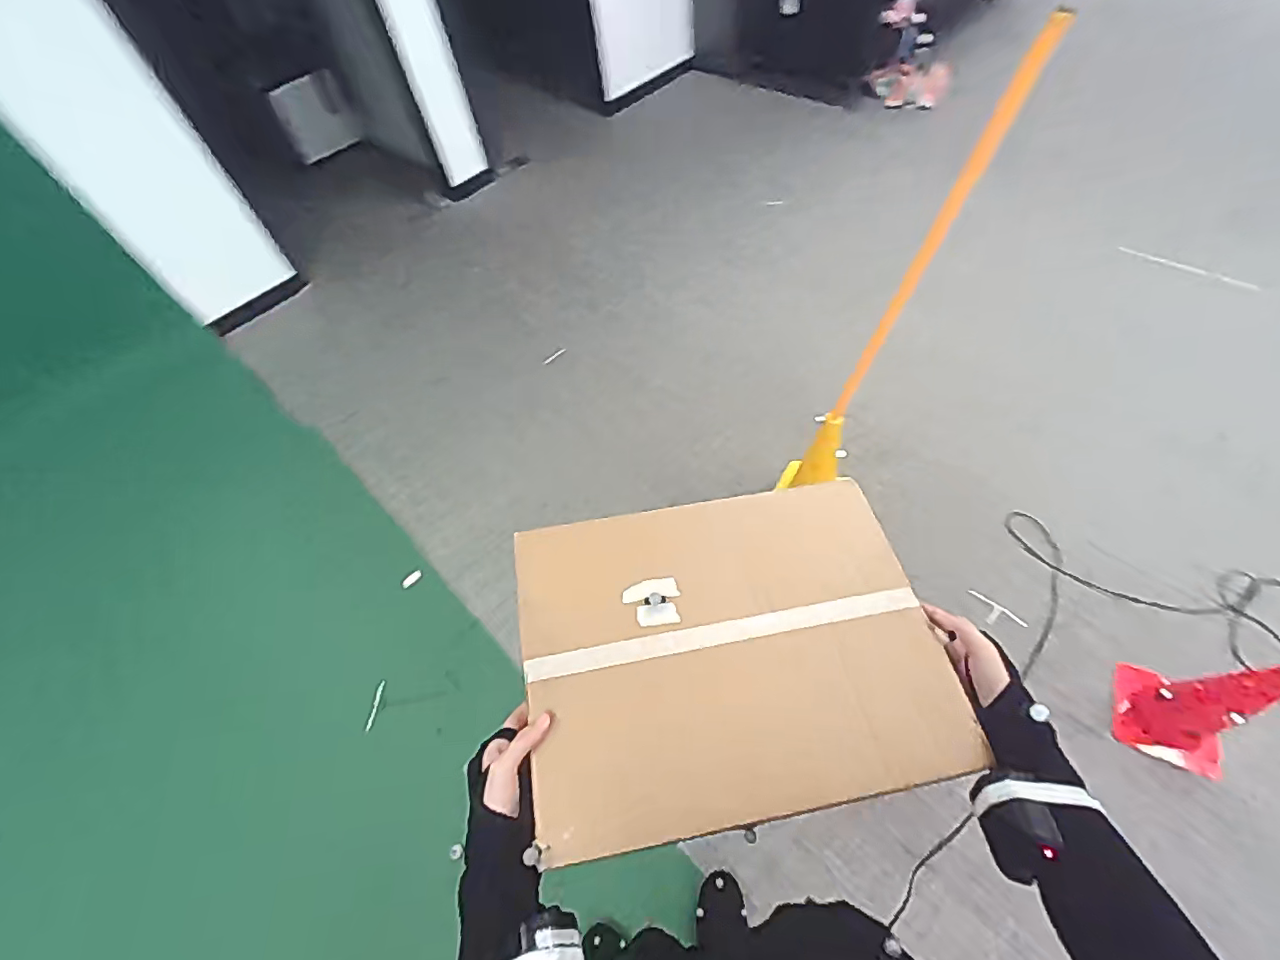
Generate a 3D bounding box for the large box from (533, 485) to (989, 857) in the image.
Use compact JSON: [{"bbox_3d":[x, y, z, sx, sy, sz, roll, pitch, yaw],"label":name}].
[{"bbox_3d":[0.103,0.242,0.676,0.408,0.320,0.320,-9,55,-5],"label":"large box"}]
